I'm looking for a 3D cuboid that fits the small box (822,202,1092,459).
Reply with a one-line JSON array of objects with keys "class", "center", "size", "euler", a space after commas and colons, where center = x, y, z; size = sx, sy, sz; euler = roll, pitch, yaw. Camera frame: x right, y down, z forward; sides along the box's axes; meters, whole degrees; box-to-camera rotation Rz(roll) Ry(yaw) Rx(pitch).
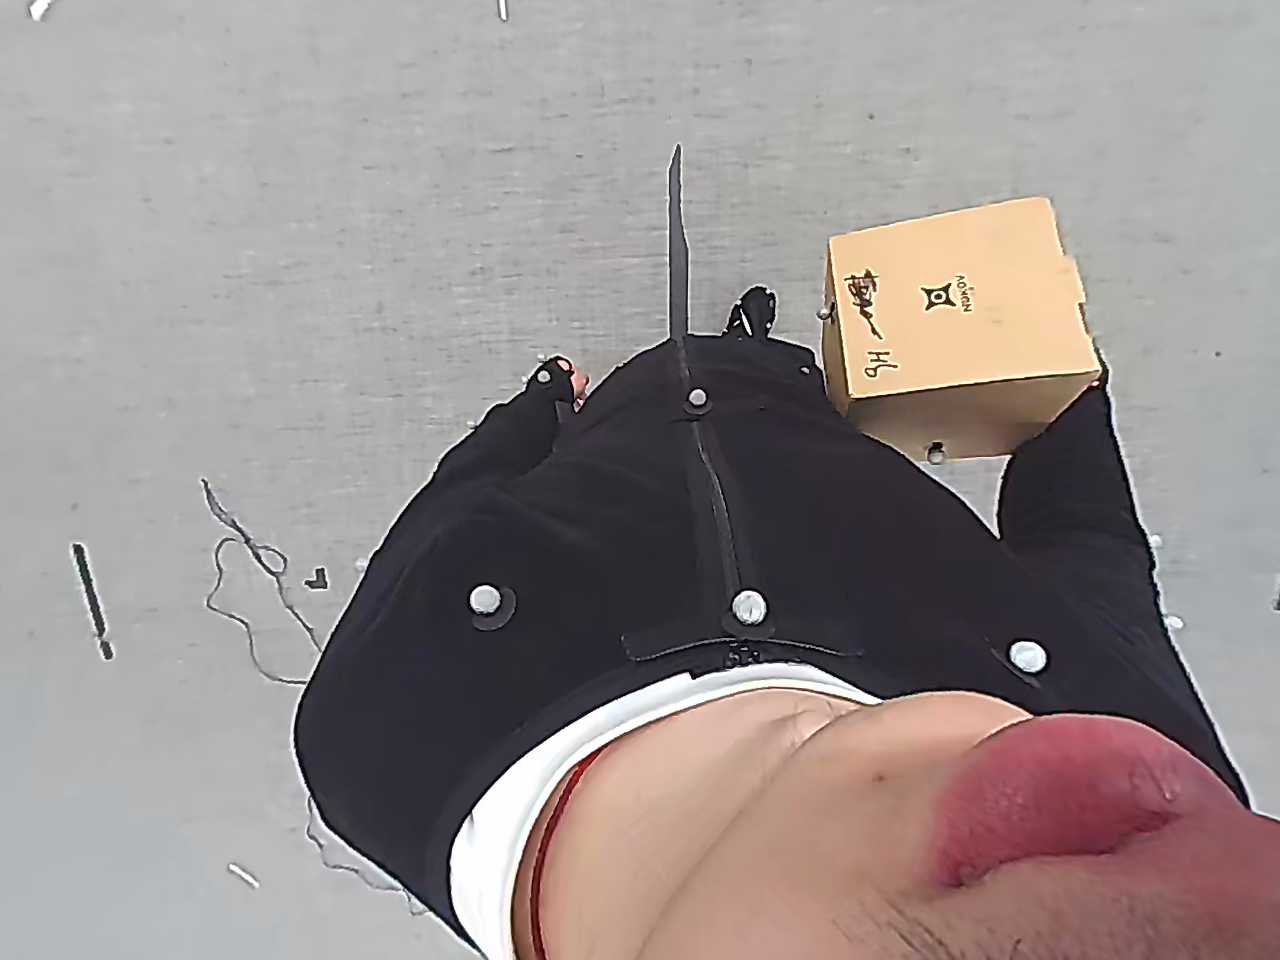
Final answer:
[{"class": "small box", "center": [0.280, -0.129, 0.527], "size": [0.179, 0.176, 0.168], "euler": [-4, 69, 14]}]
